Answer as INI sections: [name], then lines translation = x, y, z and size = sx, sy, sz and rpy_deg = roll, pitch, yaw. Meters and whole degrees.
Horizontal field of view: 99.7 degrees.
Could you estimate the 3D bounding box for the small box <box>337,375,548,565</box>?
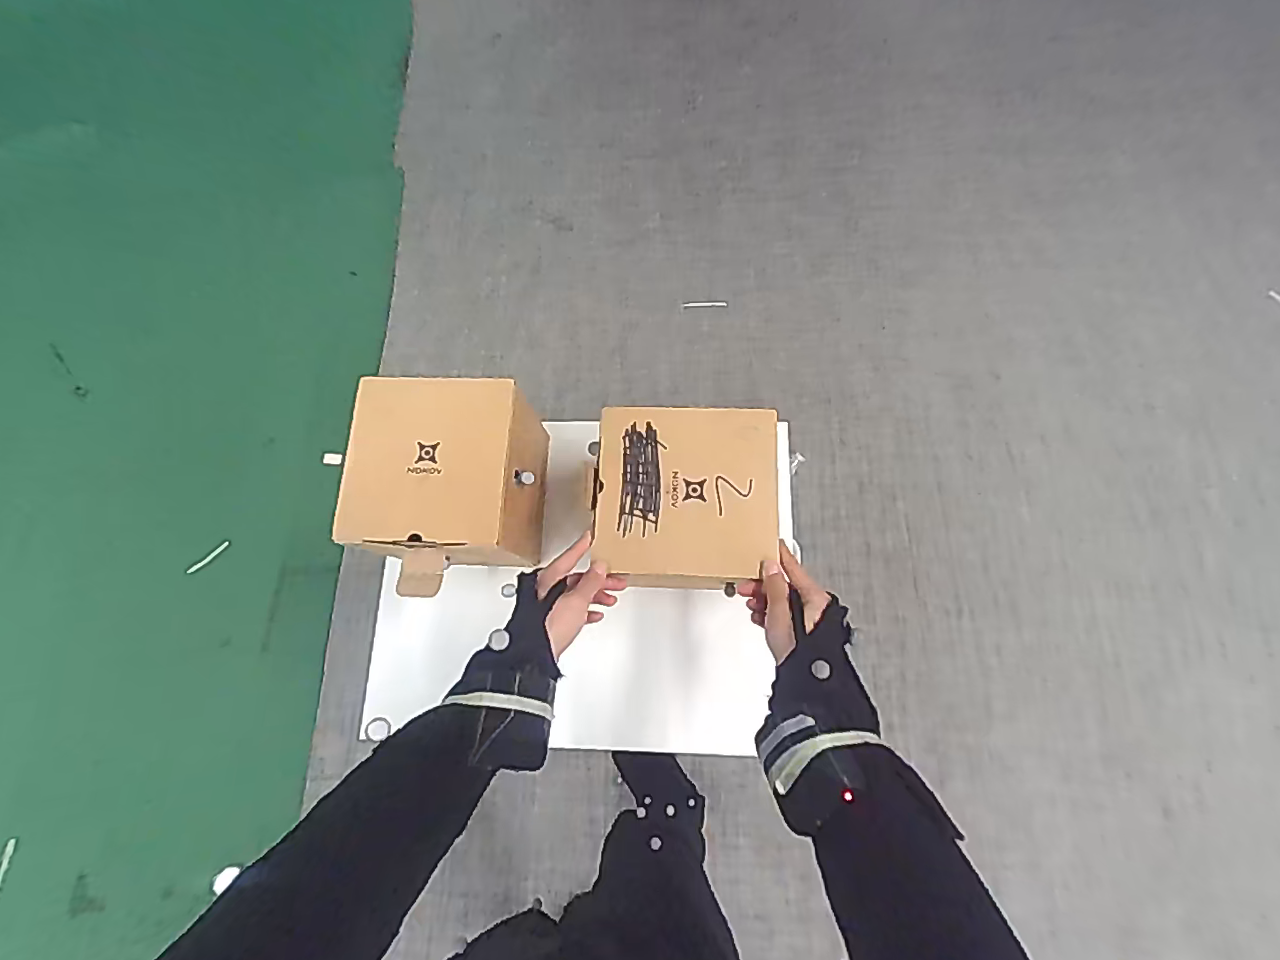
[small box]
translation = -0.204, -0.003, 0.613
size = 0.168, 0.176, 0.179
rpy_deg = 1, 75, 3
